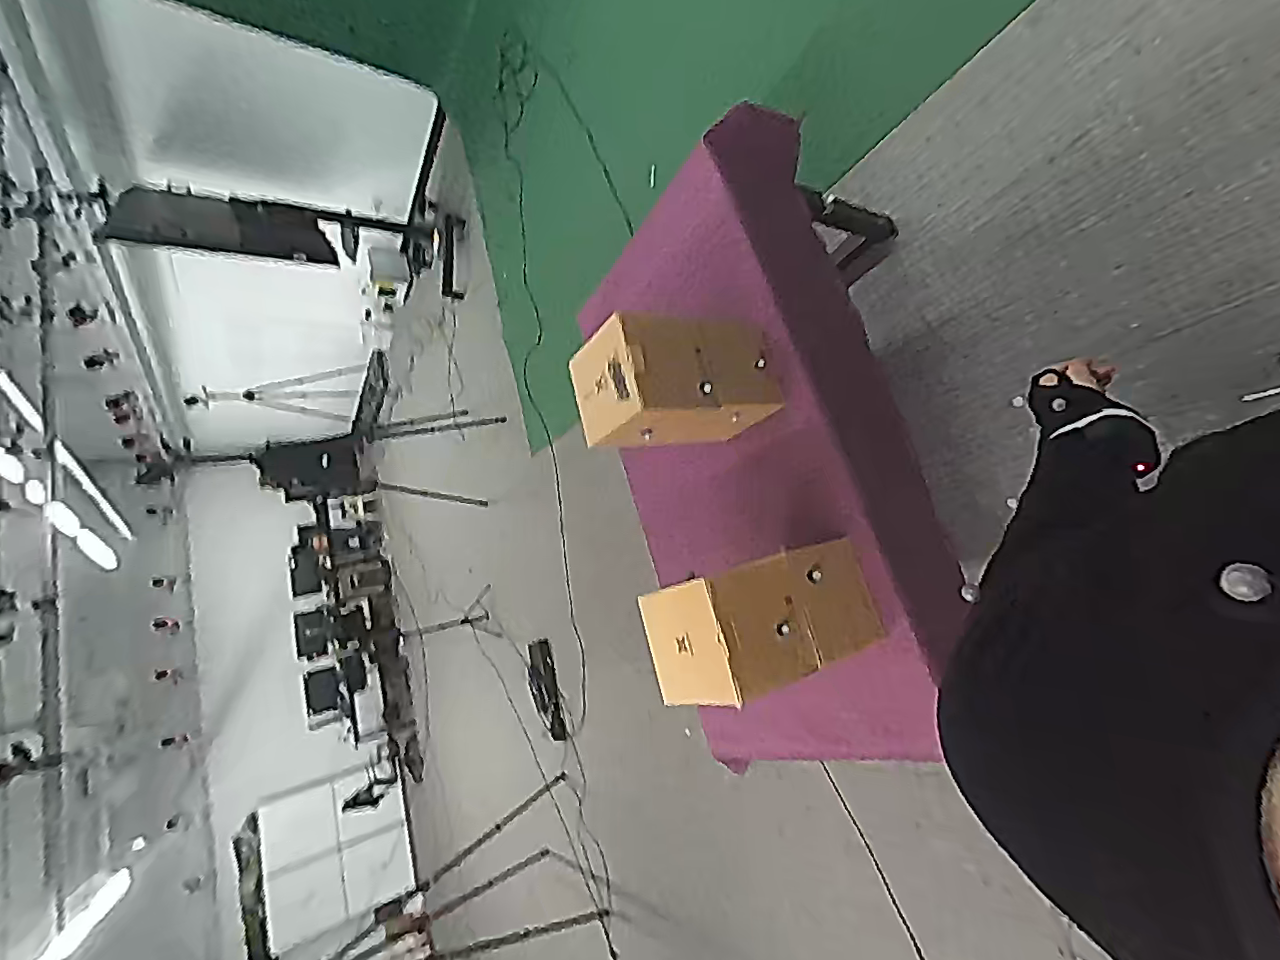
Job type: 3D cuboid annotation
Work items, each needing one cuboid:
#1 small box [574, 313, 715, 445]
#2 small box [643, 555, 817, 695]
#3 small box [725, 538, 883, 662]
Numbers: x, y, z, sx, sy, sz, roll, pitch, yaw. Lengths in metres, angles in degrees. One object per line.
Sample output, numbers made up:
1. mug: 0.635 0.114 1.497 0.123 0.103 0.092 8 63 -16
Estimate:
1. small box: 0.012 -0.169 0.941 0.179 0.176 0.168 -29 71 53
2. small box: 0.134 0.221 0.828 0.179 0.176 0.168 -32 68 51
3. small box: 0.271 0.203 0.914 0.168 0.176 0.179 -34 68 52
